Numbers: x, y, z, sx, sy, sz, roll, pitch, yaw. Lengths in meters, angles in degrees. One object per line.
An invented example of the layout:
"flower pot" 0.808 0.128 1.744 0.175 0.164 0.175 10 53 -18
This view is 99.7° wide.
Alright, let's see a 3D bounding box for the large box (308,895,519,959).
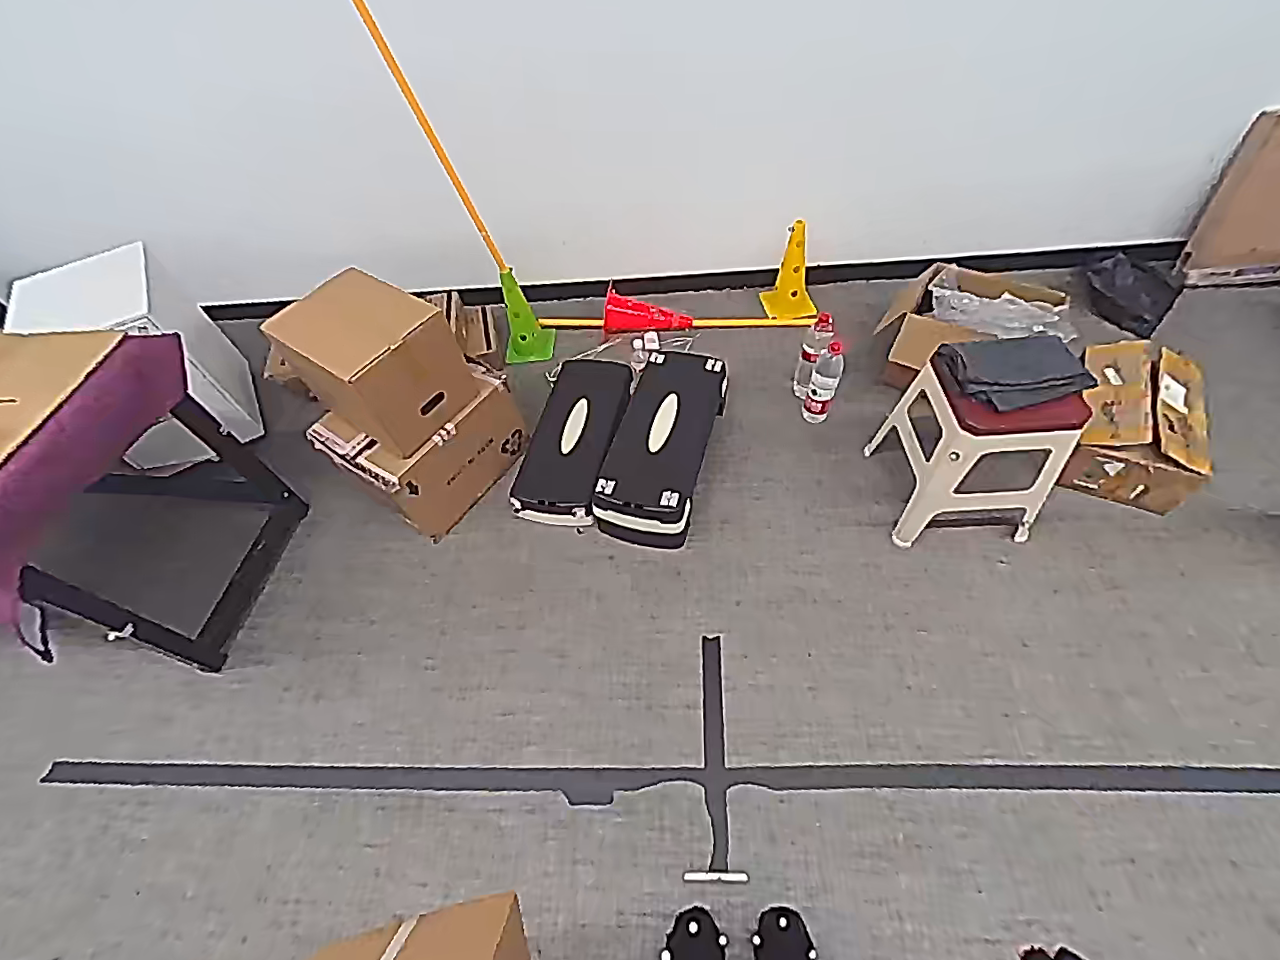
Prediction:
"large box" -0.301 0.793 0.617 0.320 0.408 0.320 -15 81 -5
